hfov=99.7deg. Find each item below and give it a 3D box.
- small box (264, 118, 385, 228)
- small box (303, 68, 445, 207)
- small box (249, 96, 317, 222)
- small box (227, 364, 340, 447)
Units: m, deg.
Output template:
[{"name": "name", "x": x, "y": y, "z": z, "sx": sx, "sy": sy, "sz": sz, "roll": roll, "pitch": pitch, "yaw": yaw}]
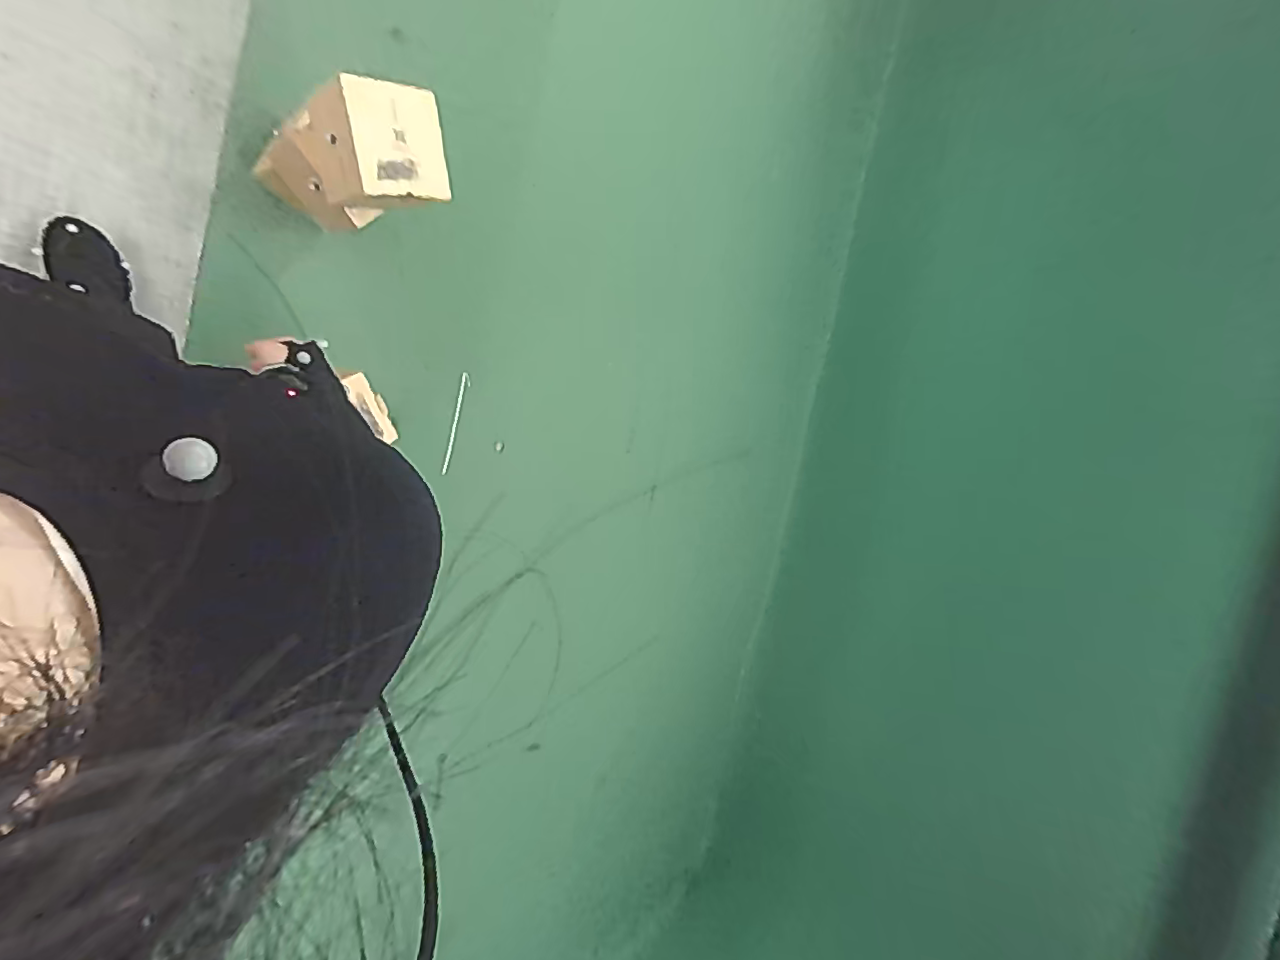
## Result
[{"name": "small box", "x": -0.608, "y": -0.632, "z": 1.091, "sx": 0.168, "sy": 0.176, "sz": 0.179, "roll": -51, "pitch": 136, "yaw": -24}, {"name": "small box", "x": -0.483, "y": -0.607, "z": 0.986, "sx": 0.168, "sy": 0.176, "sz": 0.179, "roll": -23, "pitch": 118, "yaw": -43}, {"name": "small box", "x": -0.718, "y": -0.695, "z": 1.196, "sx": 0.179, "sy": 0.176, "sz": 0.168, "roll": 35, "pitch": 76, "yaw": -49}, {"name": "small box", "x": -0.820, "y": -0.171, "z": 1.244, "sx": 0.179, "sy": 0.176, "sz": 0.168, "roll": -5, "pitch": 106, "yaw": -50}]
